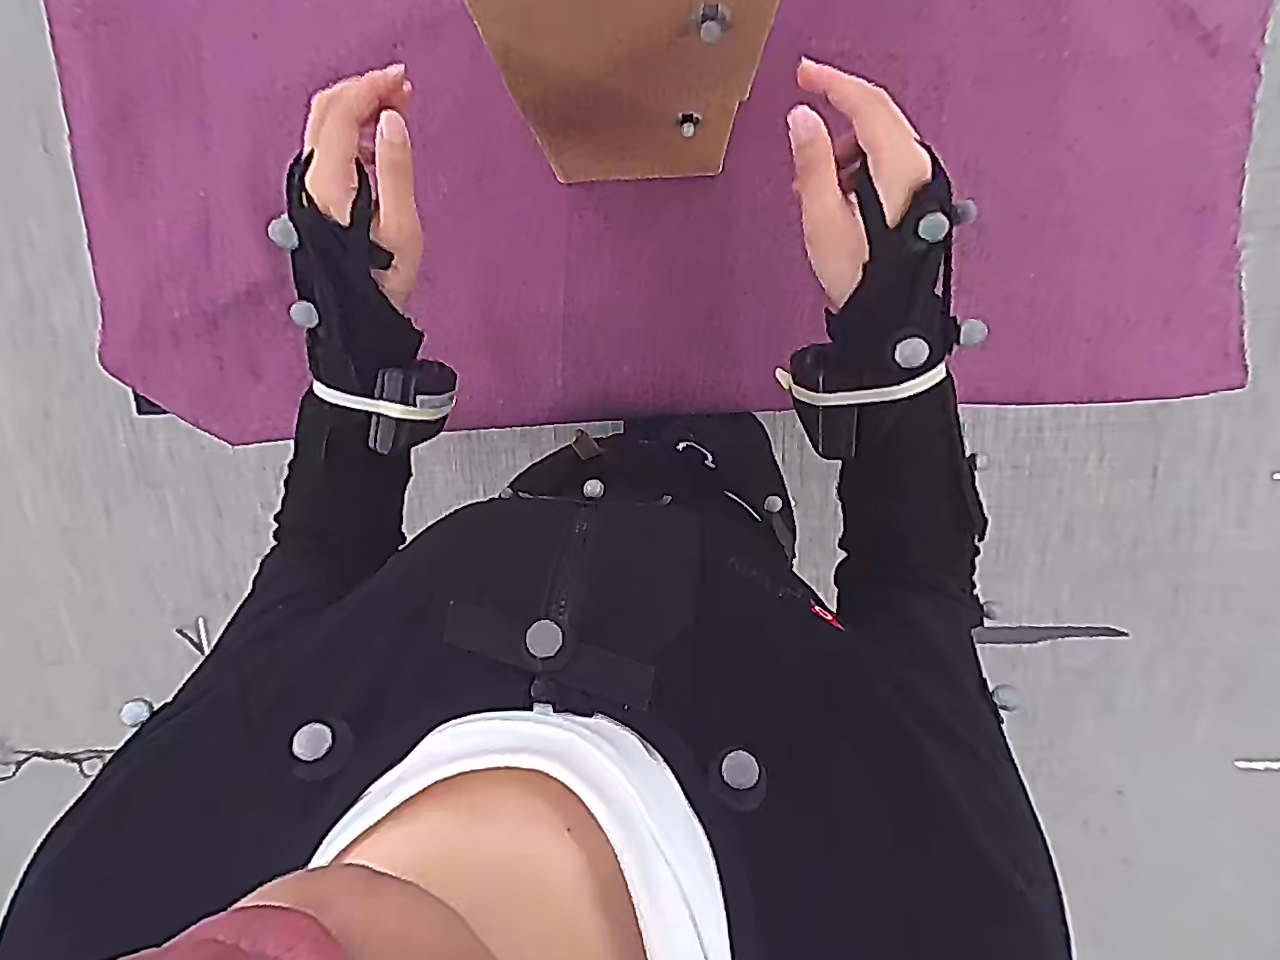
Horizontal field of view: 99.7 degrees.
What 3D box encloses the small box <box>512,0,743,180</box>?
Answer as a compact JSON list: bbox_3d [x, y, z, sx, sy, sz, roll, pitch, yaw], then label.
[{"bbox_3d":[-0.008,-0.385,0.480,0.179,0.176,0.168,-2,100,2],"label":"small box"}]
